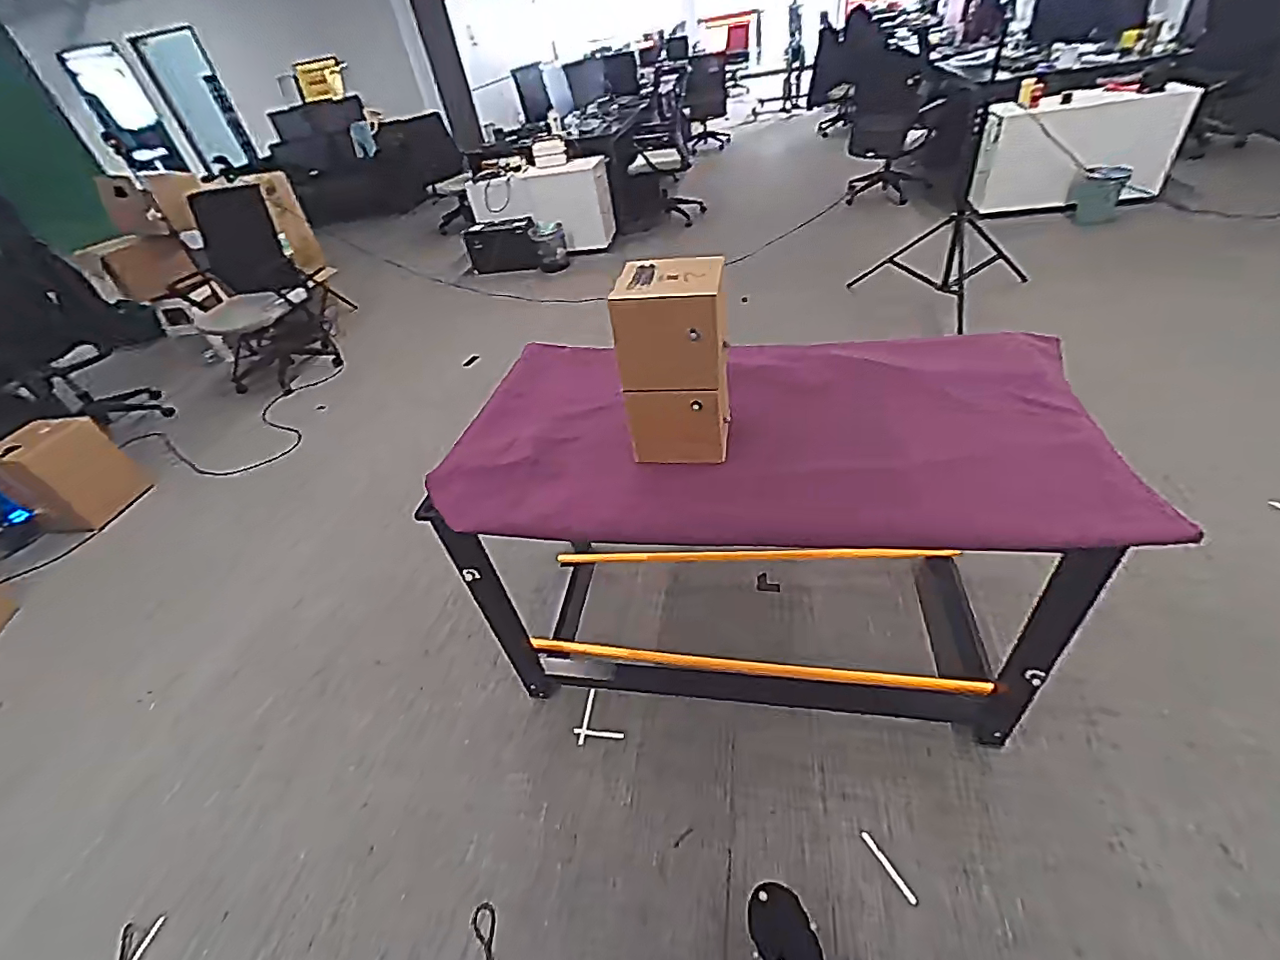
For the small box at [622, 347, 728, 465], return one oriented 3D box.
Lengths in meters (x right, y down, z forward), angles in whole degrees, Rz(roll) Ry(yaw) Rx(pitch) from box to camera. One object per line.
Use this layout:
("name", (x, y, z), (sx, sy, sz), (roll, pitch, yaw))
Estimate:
("small box", (0.076, -0.143, 1.056), (0.179, 0.176, 0.168), (1, 41, 13))
